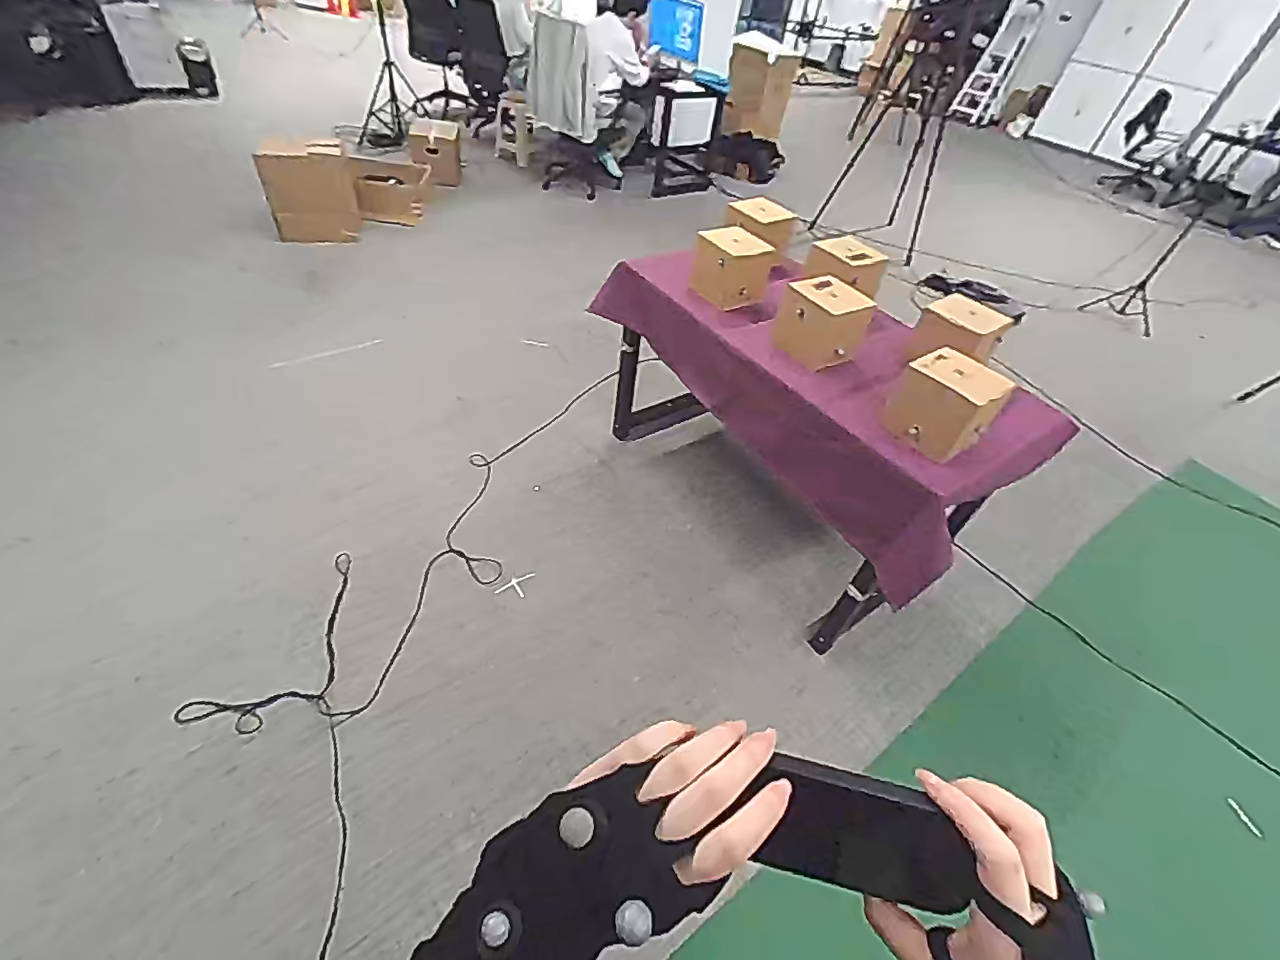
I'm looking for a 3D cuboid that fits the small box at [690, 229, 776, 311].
[{"bbox_3d":[0.271,-0.634,1.631,0.168,0.176,0.179,-21,53,-28],"label":"small box"}]

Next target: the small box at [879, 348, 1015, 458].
[{"bbox_3d":[0.692,-0.169,1.234,0.168,0.176,0.179,-23,53,-29],"label":"small box"}]

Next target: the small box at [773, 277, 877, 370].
[{"bbox_3d":[0.485,-0.419,1.451,0.168,0.176,0.179,-20,53,-26],"label":"small box"}]

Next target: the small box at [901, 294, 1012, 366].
[{"bbox_3d":[0.848,-0.374,1.464,0.179,0.176,0.168,-26,54,-29],"label":"small box"}]
